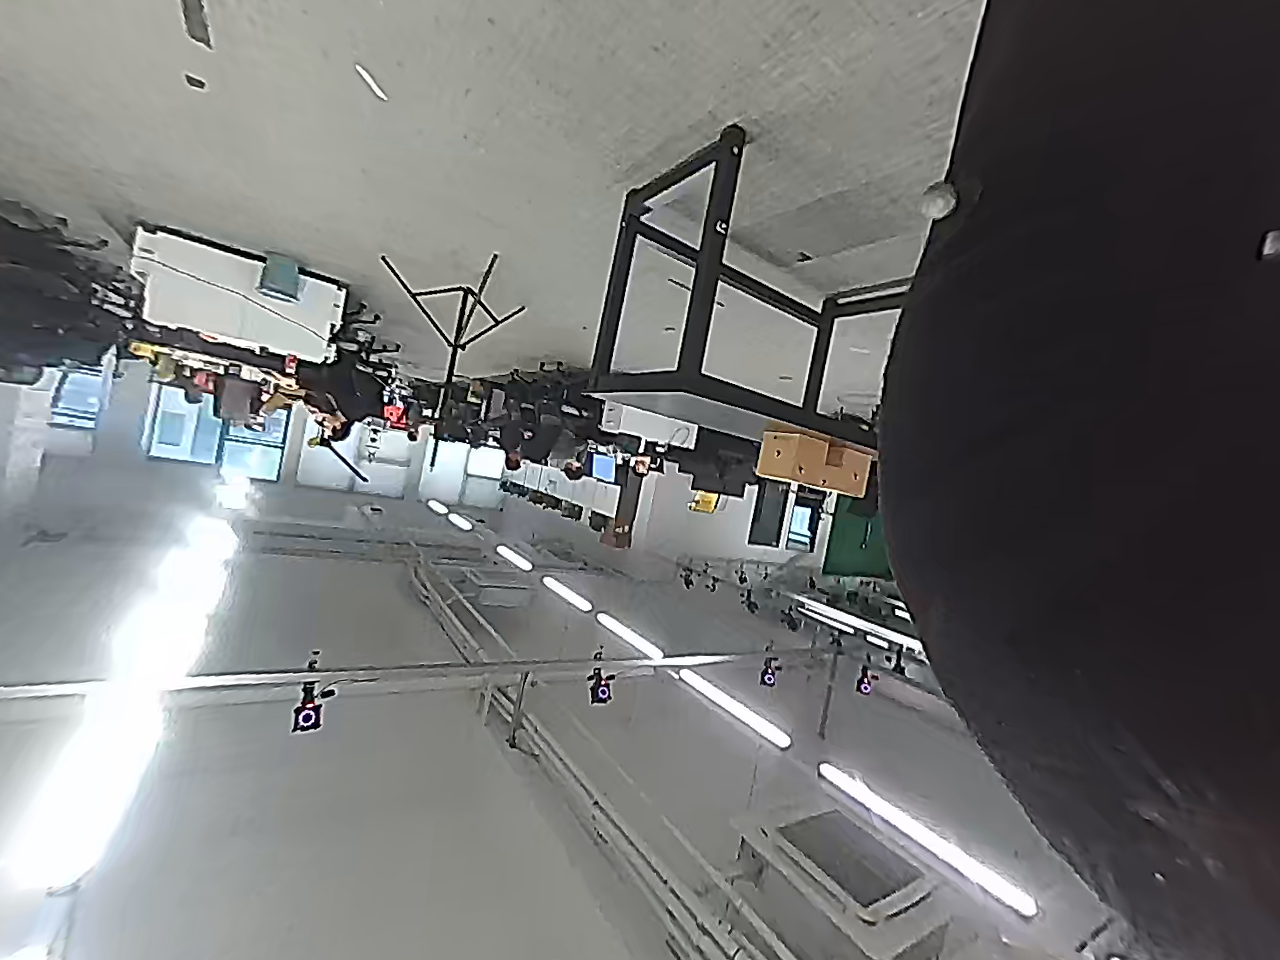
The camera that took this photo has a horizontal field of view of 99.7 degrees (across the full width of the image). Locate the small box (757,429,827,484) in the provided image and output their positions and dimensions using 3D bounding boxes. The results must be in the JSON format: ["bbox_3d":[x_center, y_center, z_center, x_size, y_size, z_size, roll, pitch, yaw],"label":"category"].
[{"bbox_3d":[0.560,-0.090,1.987,0.179,0.176,0.168,10,-177,-36],"label":"small box"}]

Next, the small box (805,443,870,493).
[{"bbox_3d":[0.782,-0.051,2.140,0.179,0.176,0.168,10,-178,-32],"label":"small box"}]
